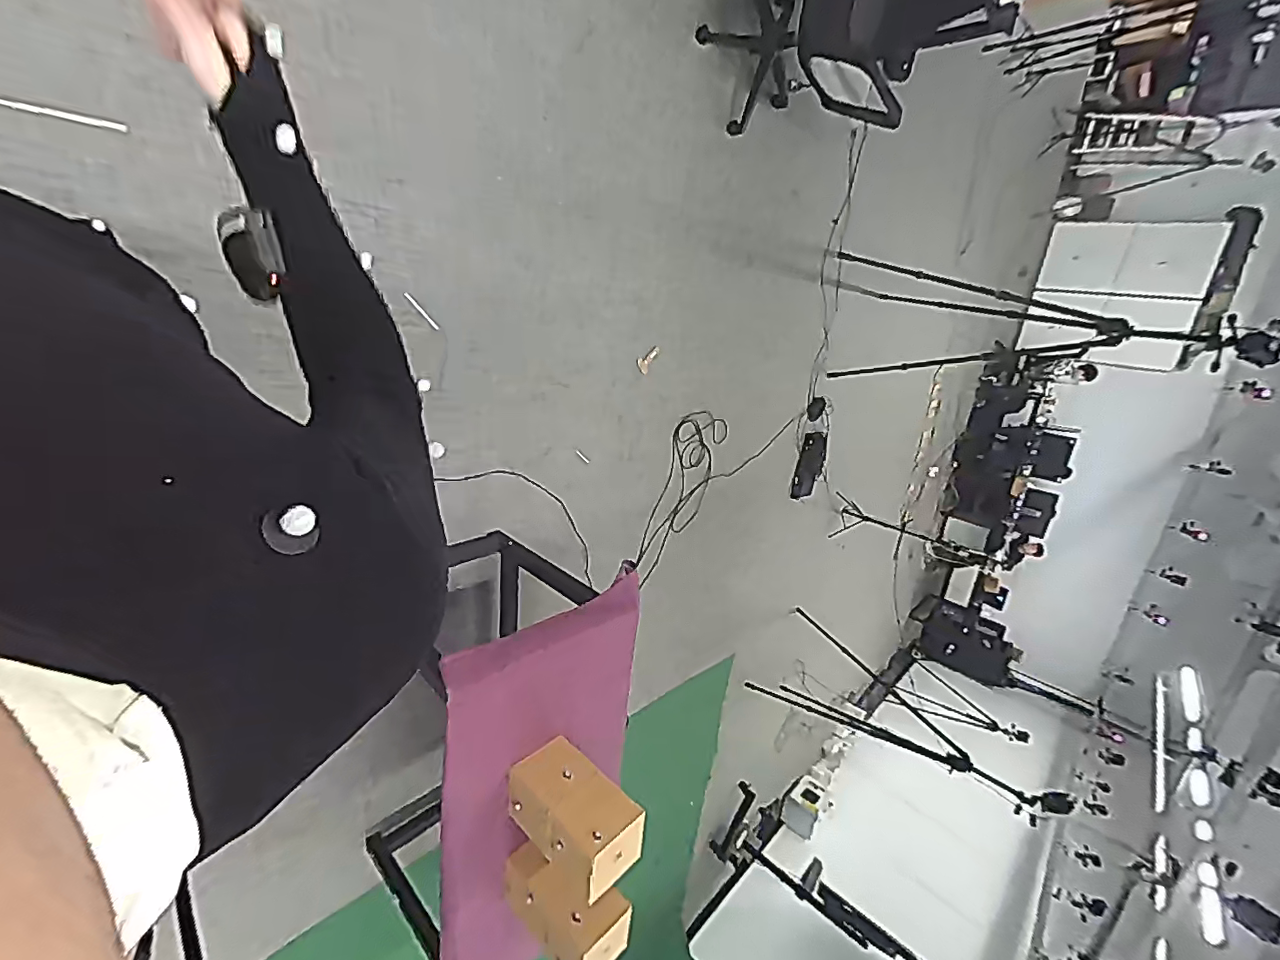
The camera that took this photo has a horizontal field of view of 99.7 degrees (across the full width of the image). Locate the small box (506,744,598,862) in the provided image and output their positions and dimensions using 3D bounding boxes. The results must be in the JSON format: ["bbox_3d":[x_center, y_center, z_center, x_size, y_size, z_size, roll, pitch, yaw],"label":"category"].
[{"bbox_3d":[-0.237,0.850,1.445,0.179,0.176,0.168,-14,117,-45],"label":"small box"}]

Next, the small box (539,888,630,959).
[{"bbox_3d":[-0.153,1.208,1.443,0.179,0.176,0.168,-13,116,-47],"label":"small box"}]

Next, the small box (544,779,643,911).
[{"bbox_3d":[-0.117,0.894,1.346,0.179,0.176,0.168,-15,118,-45],"label":"small box"}]
